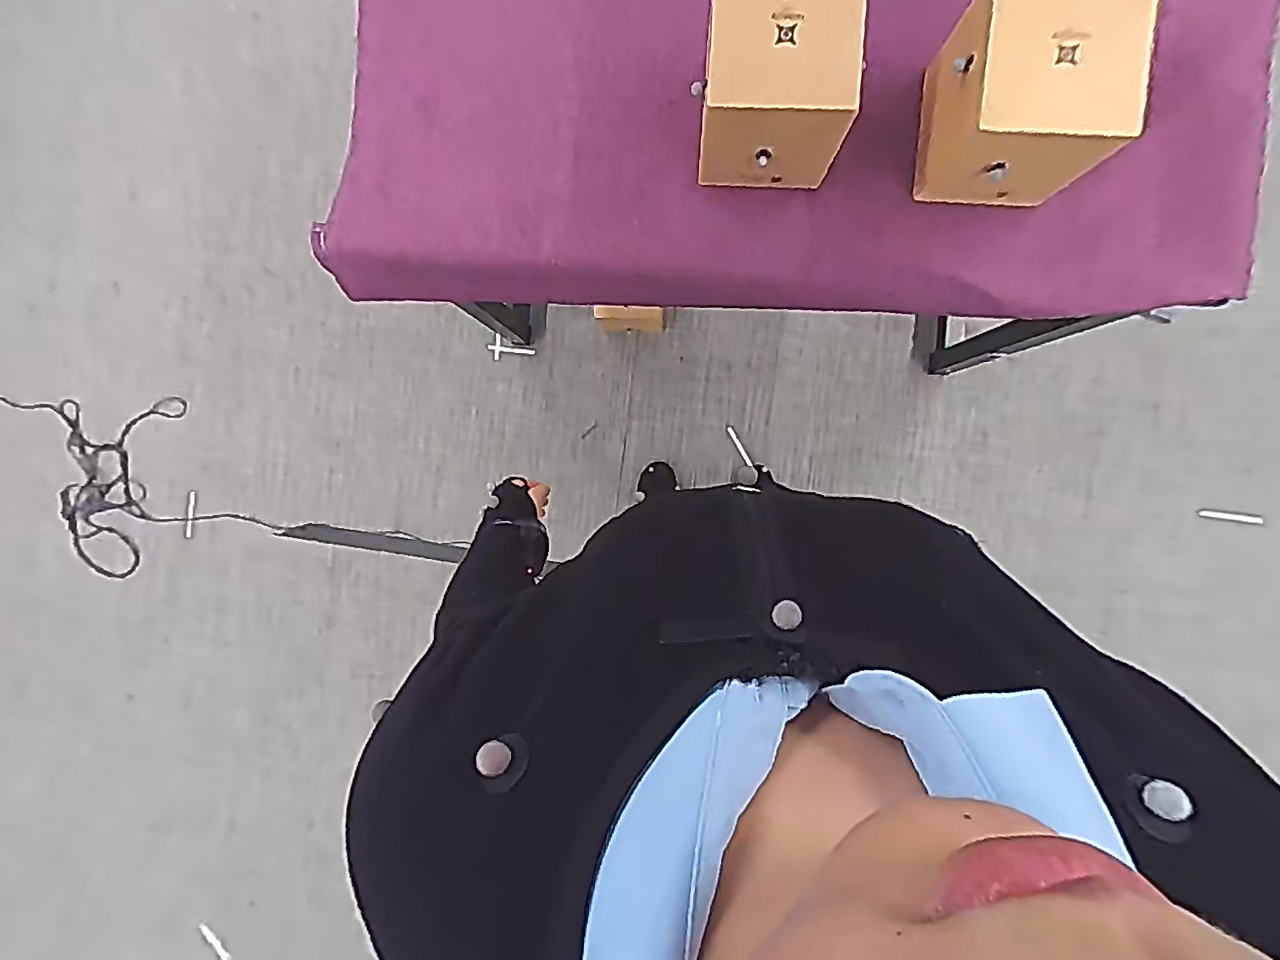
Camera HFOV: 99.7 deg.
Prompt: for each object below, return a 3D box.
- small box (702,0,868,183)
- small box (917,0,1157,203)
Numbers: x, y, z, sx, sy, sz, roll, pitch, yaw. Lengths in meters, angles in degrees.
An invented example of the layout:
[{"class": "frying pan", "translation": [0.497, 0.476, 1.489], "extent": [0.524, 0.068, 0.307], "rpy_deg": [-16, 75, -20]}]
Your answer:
[{"class": "small box", "translation": [0.167, -0.494, 0.666], "extent": [0.168, 0.176, 0.179], "rpy_deg": [4, 91, 3]}, {"class": "small box", "translation": [0.456, -0.458, 0.649], "extent": [0.168, 0.176, 0.179], "rpy_deg": [5, 92, 4]}]
